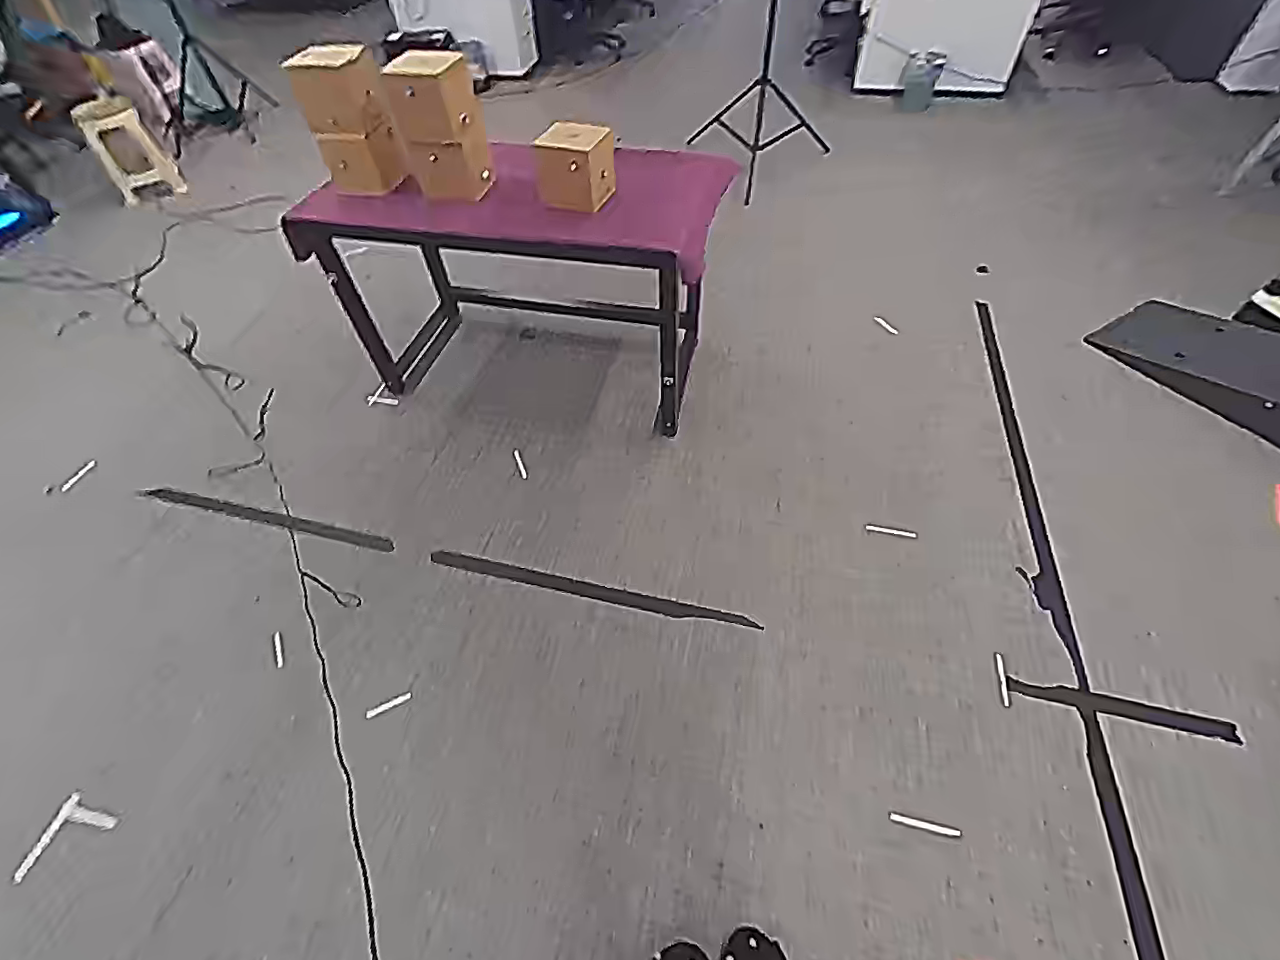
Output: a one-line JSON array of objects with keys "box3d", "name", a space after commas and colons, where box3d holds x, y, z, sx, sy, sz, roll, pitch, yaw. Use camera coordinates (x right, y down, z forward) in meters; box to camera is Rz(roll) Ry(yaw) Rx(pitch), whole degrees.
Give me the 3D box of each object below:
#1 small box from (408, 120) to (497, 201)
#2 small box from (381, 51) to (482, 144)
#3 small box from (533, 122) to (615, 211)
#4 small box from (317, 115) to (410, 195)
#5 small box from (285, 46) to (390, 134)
[{"box3d": [-0.553, -0.959, 1.619, 0.179, 0.176, 0.168, 8, 53, 8], "name": "small box"}, {"box3d": [-0.562, -1.047, 1.483, 0.179, 0.176, 0.168, 11, 55, 9], "name": "small box"}, {"box3d": [-0.180, -0.898, 1.554, 0.179, 0.176, 0.168, 15, 54, 14], "name": "small box"}, {"box3d": [-0.840, -1.002, 1.667, 0.168, 0.176, 0.179, 7, 52, 8], "name": "small box"}, {"box3d": [-0.850, -1.109, 1.543, 0.179, 0.176, 0.168, 6, 52, 6], "name": "small box"}]
